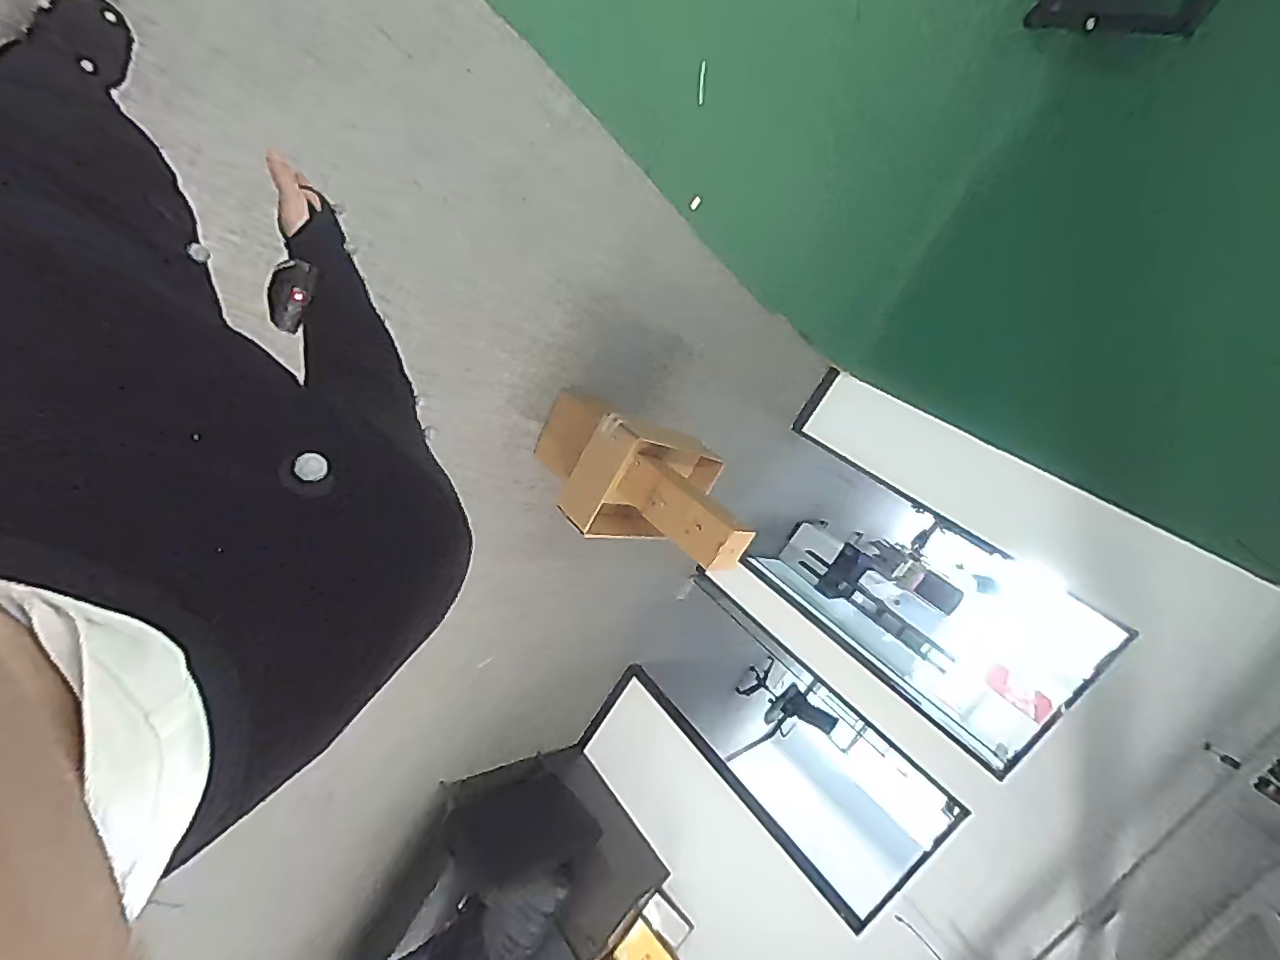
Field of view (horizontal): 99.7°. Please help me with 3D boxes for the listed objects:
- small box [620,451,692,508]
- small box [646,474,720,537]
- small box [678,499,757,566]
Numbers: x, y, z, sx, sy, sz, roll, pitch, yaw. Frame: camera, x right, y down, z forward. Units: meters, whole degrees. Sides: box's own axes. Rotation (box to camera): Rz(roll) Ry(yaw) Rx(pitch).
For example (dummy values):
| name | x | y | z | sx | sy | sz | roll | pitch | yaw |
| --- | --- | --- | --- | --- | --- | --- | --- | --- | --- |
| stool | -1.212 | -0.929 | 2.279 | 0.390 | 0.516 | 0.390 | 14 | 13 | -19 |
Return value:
| name | x | y | z | sx | sy | sz | roll | pitch | yaw |
| --- | --- | --- | --- | --- | --- | --- | --- | --- | --- |
| small box | 0.056 | 0.006 | 2.050 | 0.179 | 0.176 | 0.168 | 11 | 114 | -55 |
| small box | 0.156 | 0.093 | 1.952 | 0.179 | 0.176 | 0.168 | 10 | 114 | -53 |
| small box | 0.265 | 0.179 | 1.867 | 0.179 | 0.176 | 0.168 | 10 | 115 | -53 |
